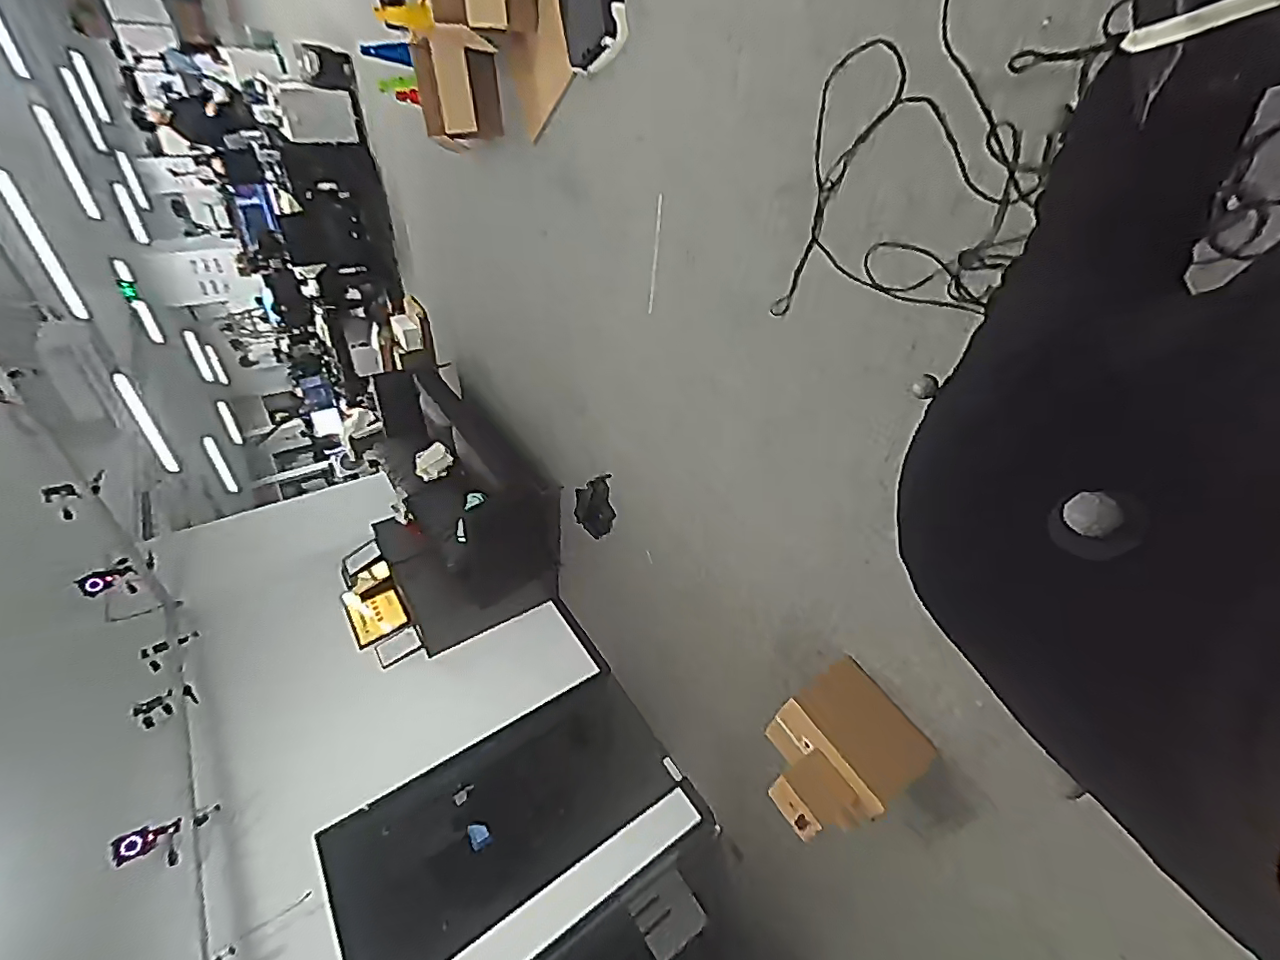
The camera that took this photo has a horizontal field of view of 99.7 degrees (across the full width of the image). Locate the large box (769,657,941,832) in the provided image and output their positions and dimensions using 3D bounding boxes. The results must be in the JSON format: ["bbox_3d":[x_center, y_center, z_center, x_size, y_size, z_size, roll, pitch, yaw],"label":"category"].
[{"bbox_3d":[0.736,0.914,1.895,0.408,0.320,0.320,50,145,33],"label":"large box"}]
